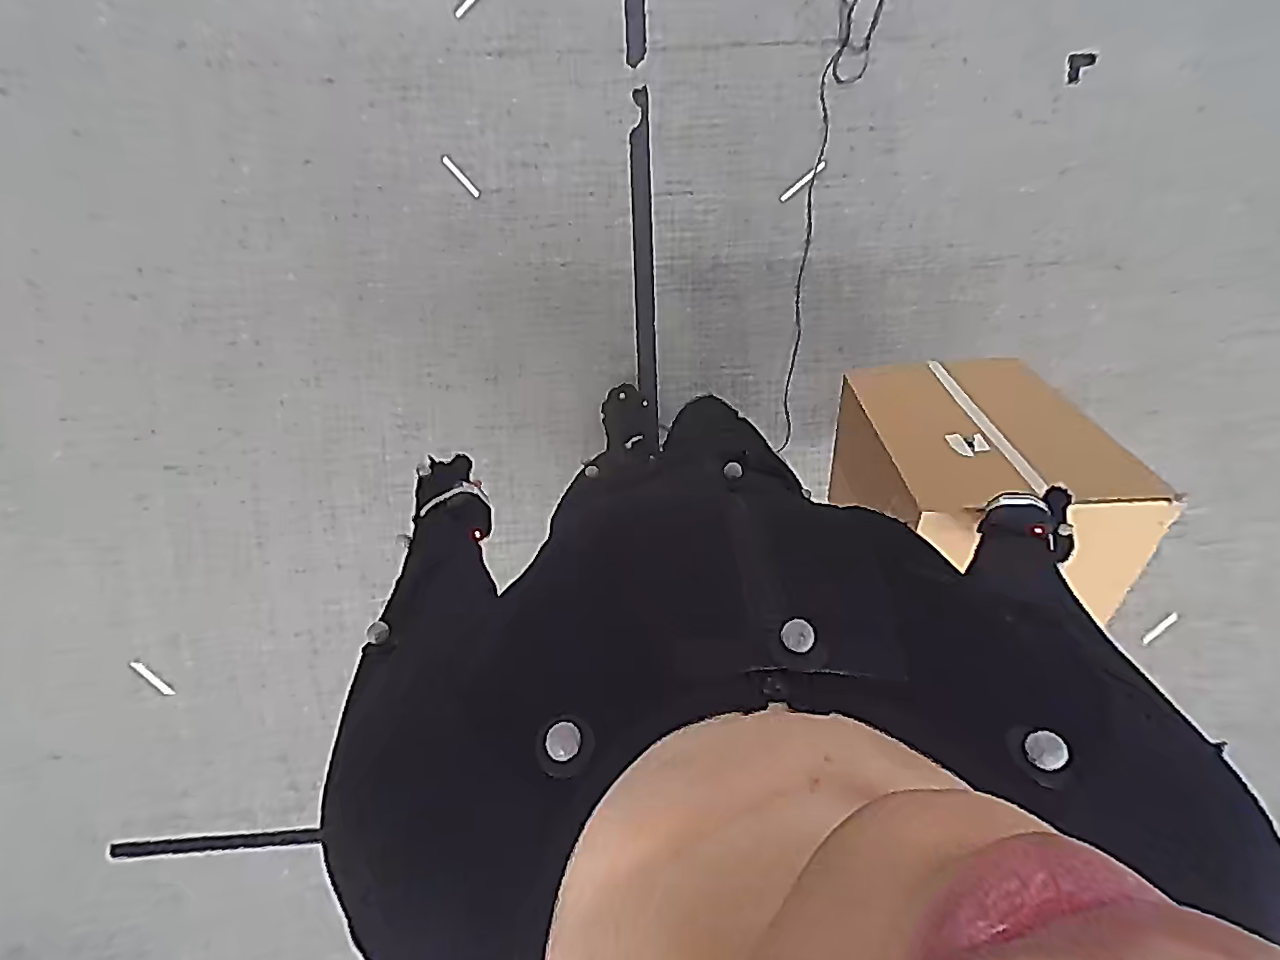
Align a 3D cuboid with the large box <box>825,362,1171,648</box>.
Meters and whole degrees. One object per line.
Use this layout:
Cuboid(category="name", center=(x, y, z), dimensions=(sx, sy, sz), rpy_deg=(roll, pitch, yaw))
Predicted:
Cuboid(category="large box", center=(0.541, 0.032, 0.942), dimensions=(0.320, 0.408, 0.320), rpy_deg=(-4, 129, 5))
